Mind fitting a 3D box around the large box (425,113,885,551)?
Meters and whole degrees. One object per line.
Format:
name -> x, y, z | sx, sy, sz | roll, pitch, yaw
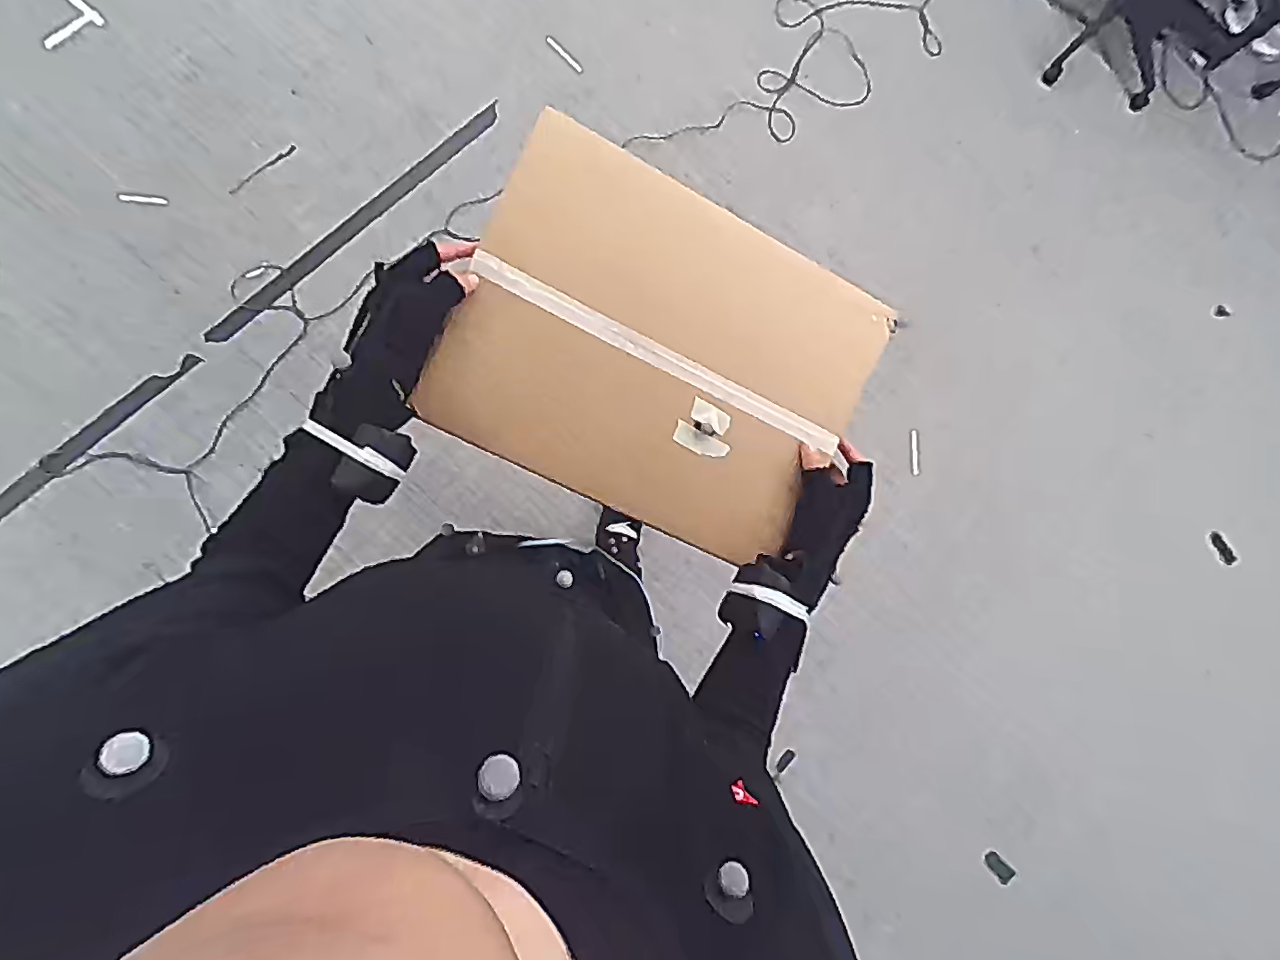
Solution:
large box -> 0.004, -0.152, 0.699 | 0.408, 0.320, 0.320 | 25, 92, -11
